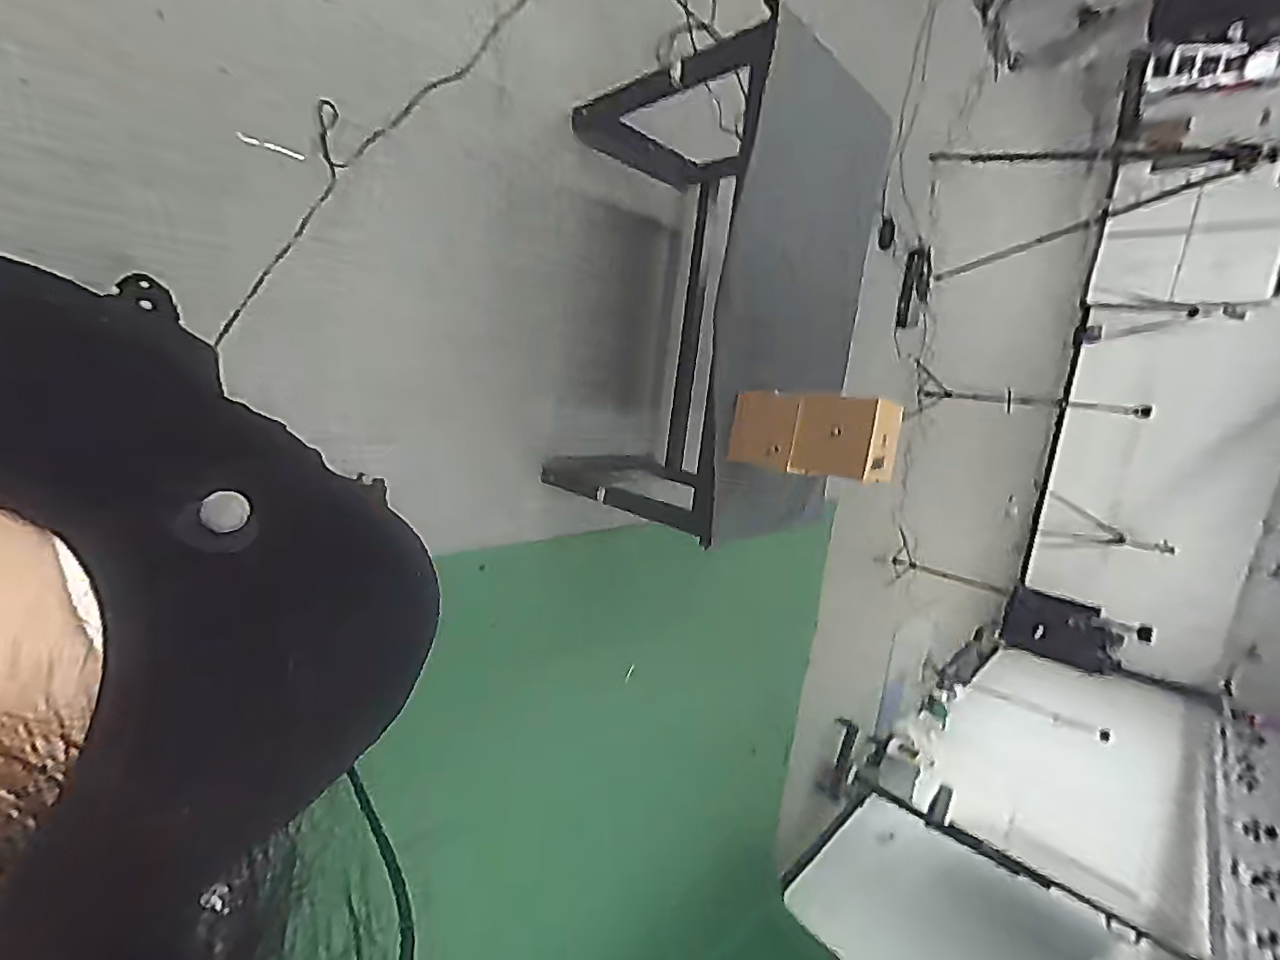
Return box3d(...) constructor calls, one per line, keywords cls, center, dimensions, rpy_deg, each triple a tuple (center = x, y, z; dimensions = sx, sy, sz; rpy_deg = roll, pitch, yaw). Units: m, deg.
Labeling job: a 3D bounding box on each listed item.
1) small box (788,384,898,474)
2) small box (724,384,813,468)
box3d(cls="small box", center=(0.453, -0.114, 1.217), dimensions=(0.168, 0.176, 0.179), rpy_deg=(0, 99, -48))
box3d(cls="small box", center=(0.324, -0.131, 1.319), dimensions=(0.168, 0.176, 0.179), rpy_deg=(2, 99, -48))
